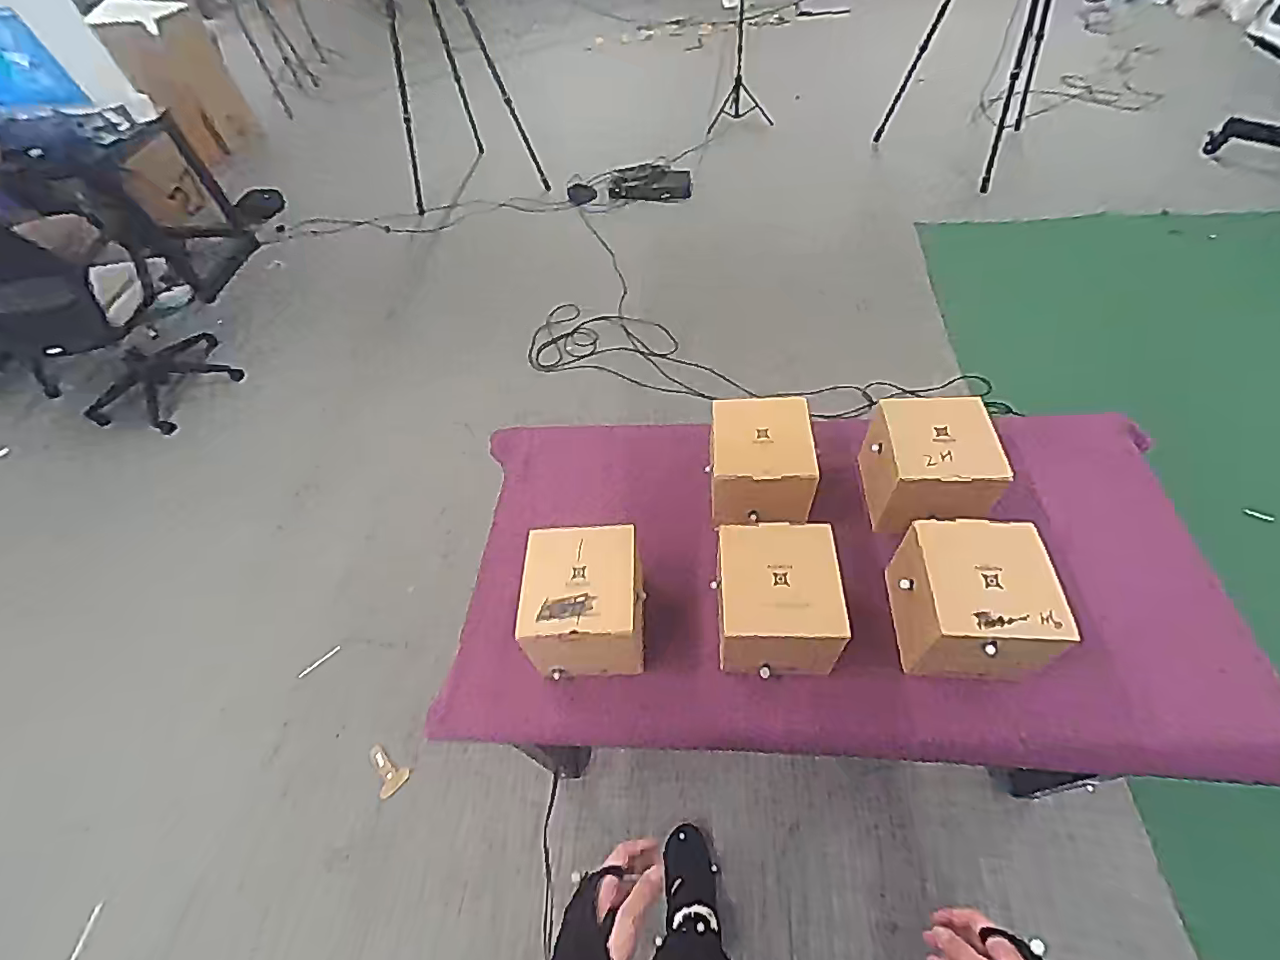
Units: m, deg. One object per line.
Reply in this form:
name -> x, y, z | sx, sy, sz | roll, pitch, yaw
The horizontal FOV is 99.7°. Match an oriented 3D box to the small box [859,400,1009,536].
small box -> 0.491, -0.018, 0.935 | 0.168, 0.176, 0.179 | 0, 54, 8

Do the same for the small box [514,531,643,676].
small box -> -0.084, 0.200, 0.851 | 0.168, 0.176, 0.179 | -3, 51, 5

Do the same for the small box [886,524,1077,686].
small box -> 0.475, 0.182, 0.790 | 0.168, 0.176, 0.179 | 0, 53, 8

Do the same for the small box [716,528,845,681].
small box -> 0.201, 0.190, 0.824 | 0.168, 0.176, 0.179 | -1, 54, 8
